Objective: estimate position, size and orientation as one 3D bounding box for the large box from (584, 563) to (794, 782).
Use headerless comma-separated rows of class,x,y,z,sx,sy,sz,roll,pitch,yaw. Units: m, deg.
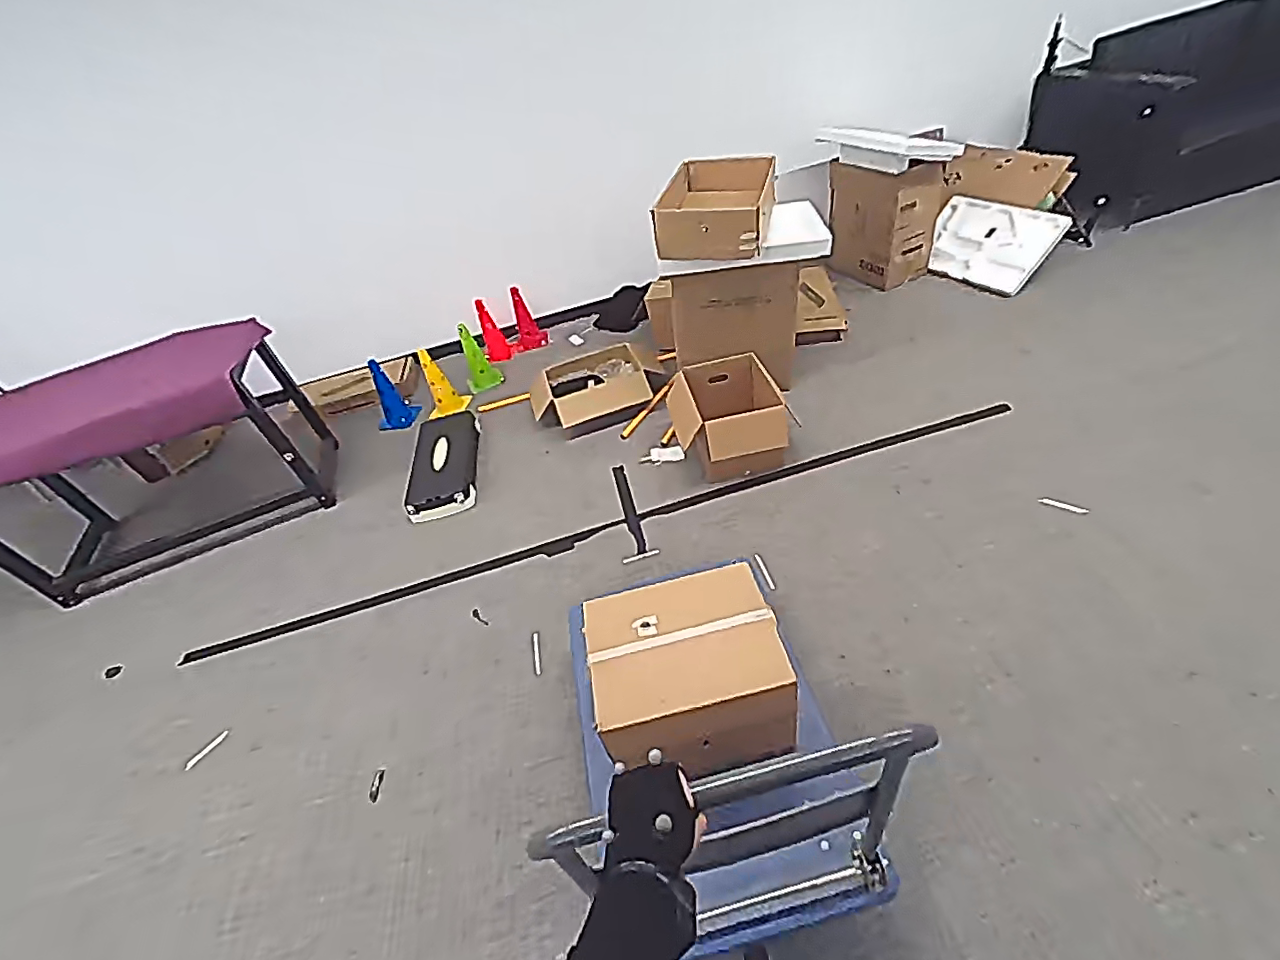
large box,0.115,0.453,1.275,0.408,0.320,0.320,-15,41,0
